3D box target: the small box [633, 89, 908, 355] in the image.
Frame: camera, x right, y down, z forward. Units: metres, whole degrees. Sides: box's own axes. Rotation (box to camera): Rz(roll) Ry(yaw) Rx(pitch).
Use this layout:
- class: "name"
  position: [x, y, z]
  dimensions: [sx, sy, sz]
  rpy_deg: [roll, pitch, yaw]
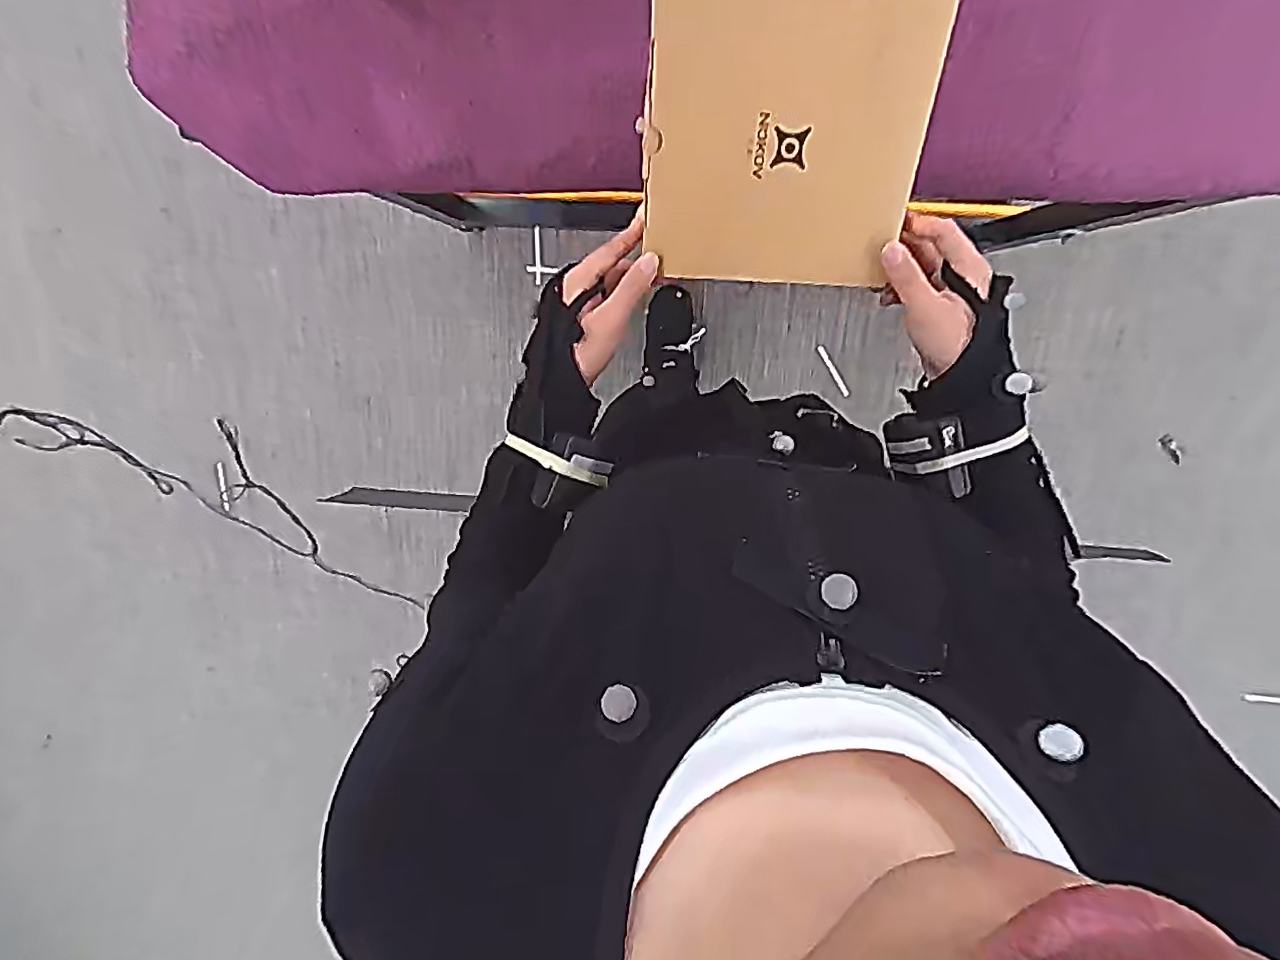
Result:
- class: "small box"
  position: [0.090, -0.207, 0.458]
  dimensions: [0.179, 0.176, 0.168]
  rpy_deg: [4, 112, 3]
